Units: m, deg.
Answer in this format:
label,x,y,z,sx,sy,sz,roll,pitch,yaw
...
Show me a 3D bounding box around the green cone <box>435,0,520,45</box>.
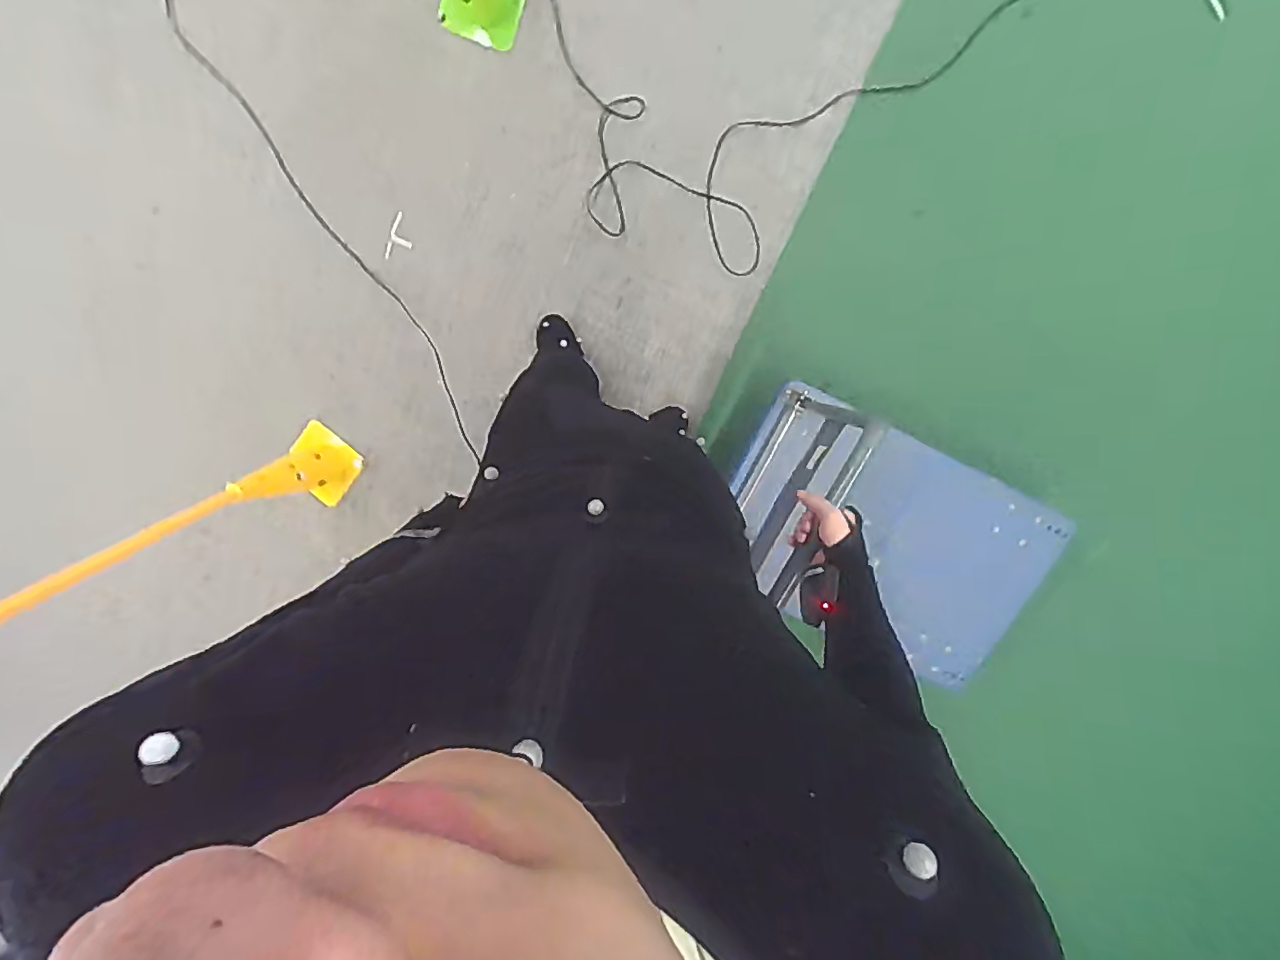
label,x,y,z,sx,sy,sz,roll,pitch,yaw
green cone,-0.400,-1.176,1.170,0.200,0.368,0.202,20,102,-2
